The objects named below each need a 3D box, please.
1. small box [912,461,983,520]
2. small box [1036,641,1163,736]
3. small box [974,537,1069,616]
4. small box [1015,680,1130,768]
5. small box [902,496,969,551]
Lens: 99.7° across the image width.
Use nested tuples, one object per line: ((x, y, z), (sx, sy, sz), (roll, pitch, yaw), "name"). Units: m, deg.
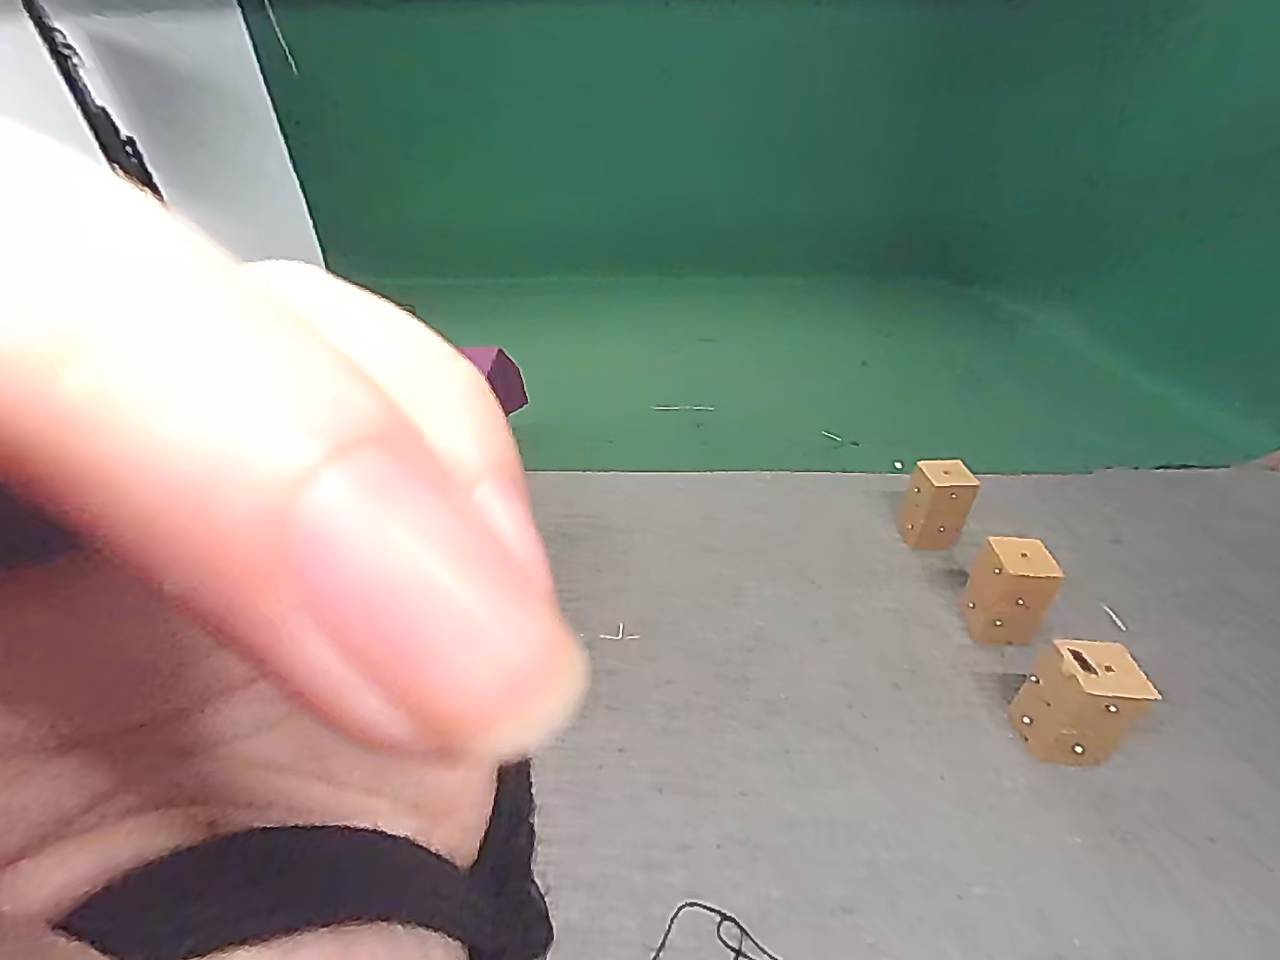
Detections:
((1.186, 0.043, 2.105), (0.179, 0.176, 0.168), (-1, 37, 0), "small box")
((1.180, 0.546, 1.412), (0.179, 0.176, 0.168), (3, 36, 5), "small box")
((1.214, 0.309, 1.739), (0.168, 0.176, 0.179), (3, 36, 5), "small box")
((1.188, 0.681, 1.508), (0.179, 0.176, 0.168), (1, 37, 5), "small box")
((1.192, 0.177, 2.201), (0.179, 0.176, 0.168), (0, 37, 1), "small box")
